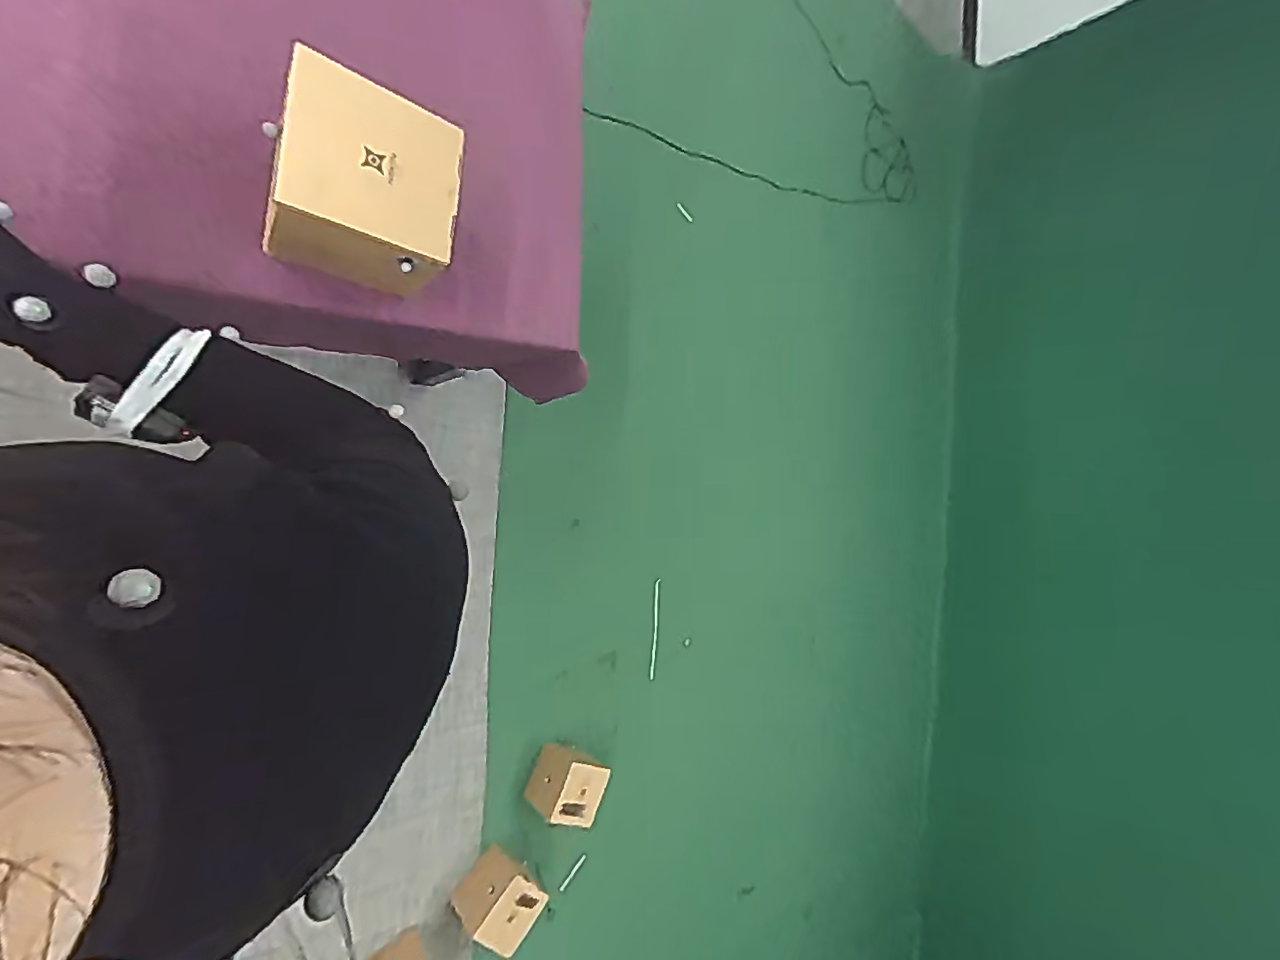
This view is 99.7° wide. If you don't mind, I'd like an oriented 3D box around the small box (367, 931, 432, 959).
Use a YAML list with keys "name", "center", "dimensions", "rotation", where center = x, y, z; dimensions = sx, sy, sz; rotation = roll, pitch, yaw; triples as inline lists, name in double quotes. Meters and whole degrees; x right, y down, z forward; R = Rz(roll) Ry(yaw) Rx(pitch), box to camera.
- name: "small box"
  center: [-0.626, 1.340, 1.413]
  dimensions: [0.168, 0.176, 0.179]
  rotation: [-19, 104, -37]

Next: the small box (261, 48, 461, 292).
- name: "small box"
  center: [-0.337, -0.343, 0.647]
  dimensions: [0.179, 0.176, 0.168]
  rotation: [8, 87, -39]

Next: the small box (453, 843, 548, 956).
- name: "small box"
  center: [-0.412, 1.215, 1.580]
  dimensions: [0.179, 0.176, 0.168]
  rotation: [-48, 119, -26]
